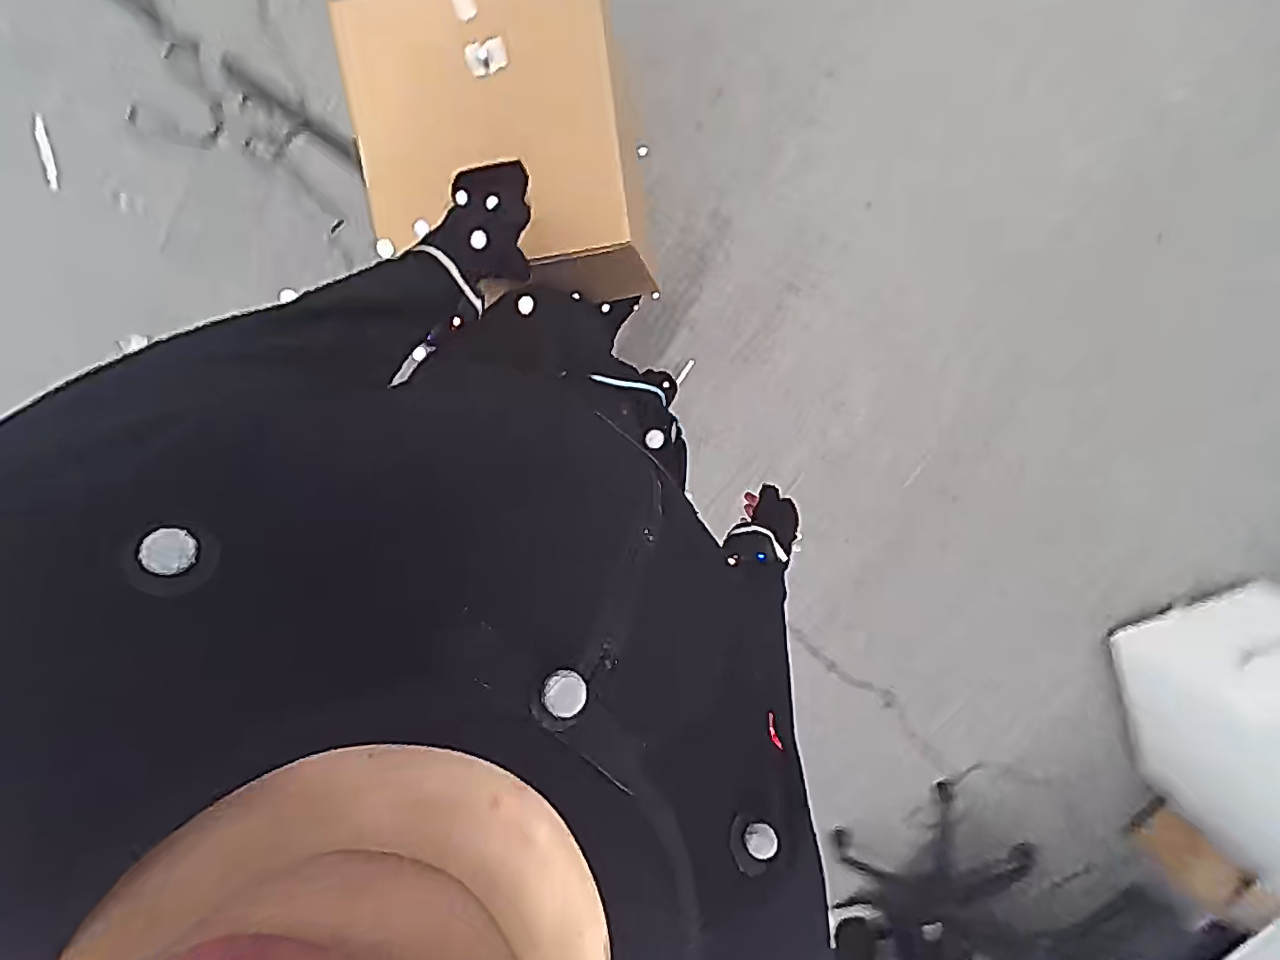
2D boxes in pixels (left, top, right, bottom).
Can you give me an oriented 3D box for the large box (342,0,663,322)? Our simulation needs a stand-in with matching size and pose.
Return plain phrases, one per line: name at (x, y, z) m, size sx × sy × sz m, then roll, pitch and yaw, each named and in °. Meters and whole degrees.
large box at (-0.157, -0.435, 0.824) m, size 0.320 × 0.408 × 0.320 m, roll -6°, pitch 102°, yaw 9°
